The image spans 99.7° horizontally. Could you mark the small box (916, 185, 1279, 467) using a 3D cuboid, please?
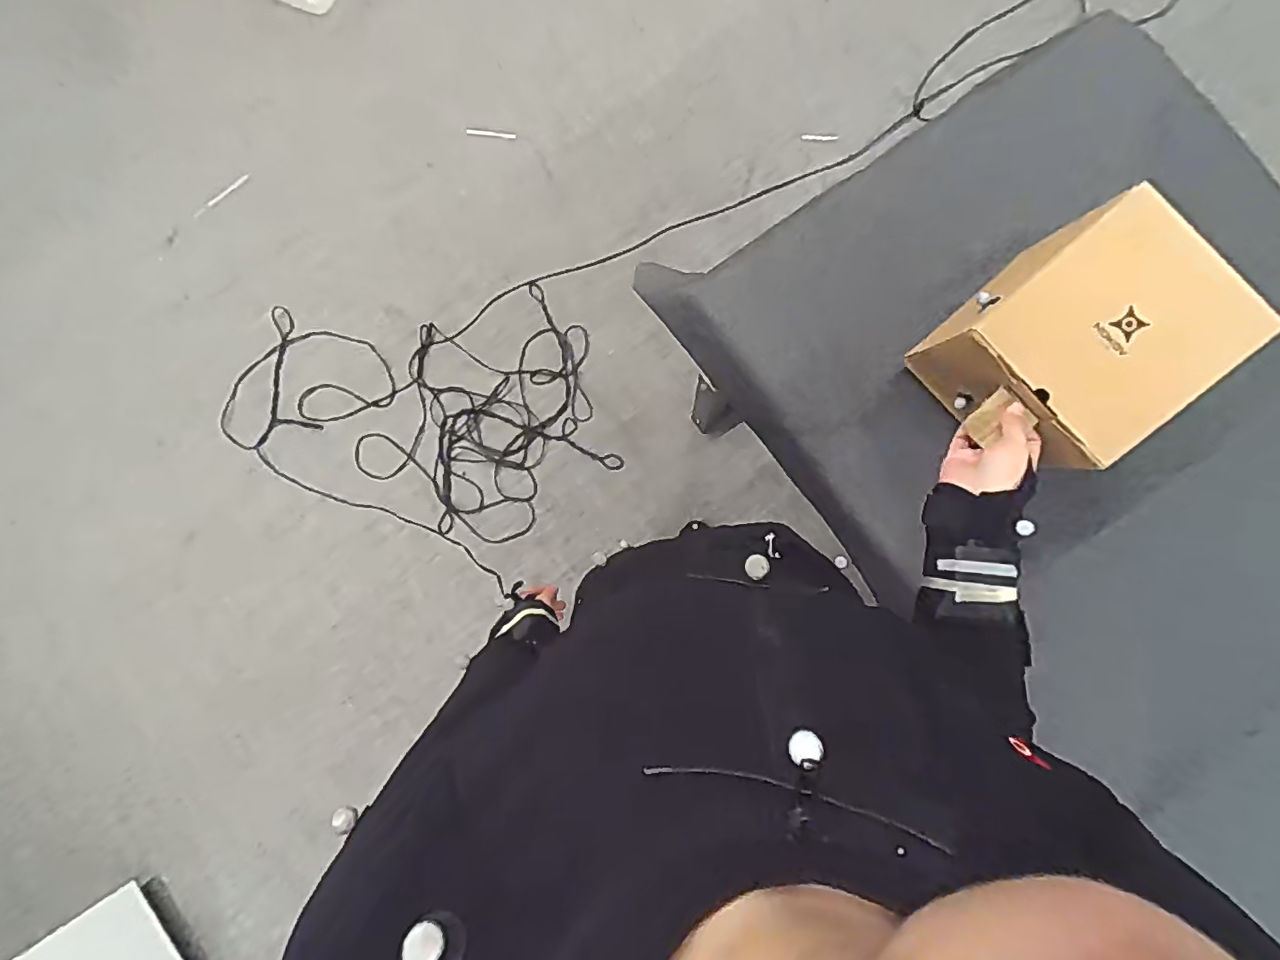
[{"bbox_3d":[0.415,-0.133,0.530,0.179,0.176,0.168,-43,88,8],"label":"small box"}]
